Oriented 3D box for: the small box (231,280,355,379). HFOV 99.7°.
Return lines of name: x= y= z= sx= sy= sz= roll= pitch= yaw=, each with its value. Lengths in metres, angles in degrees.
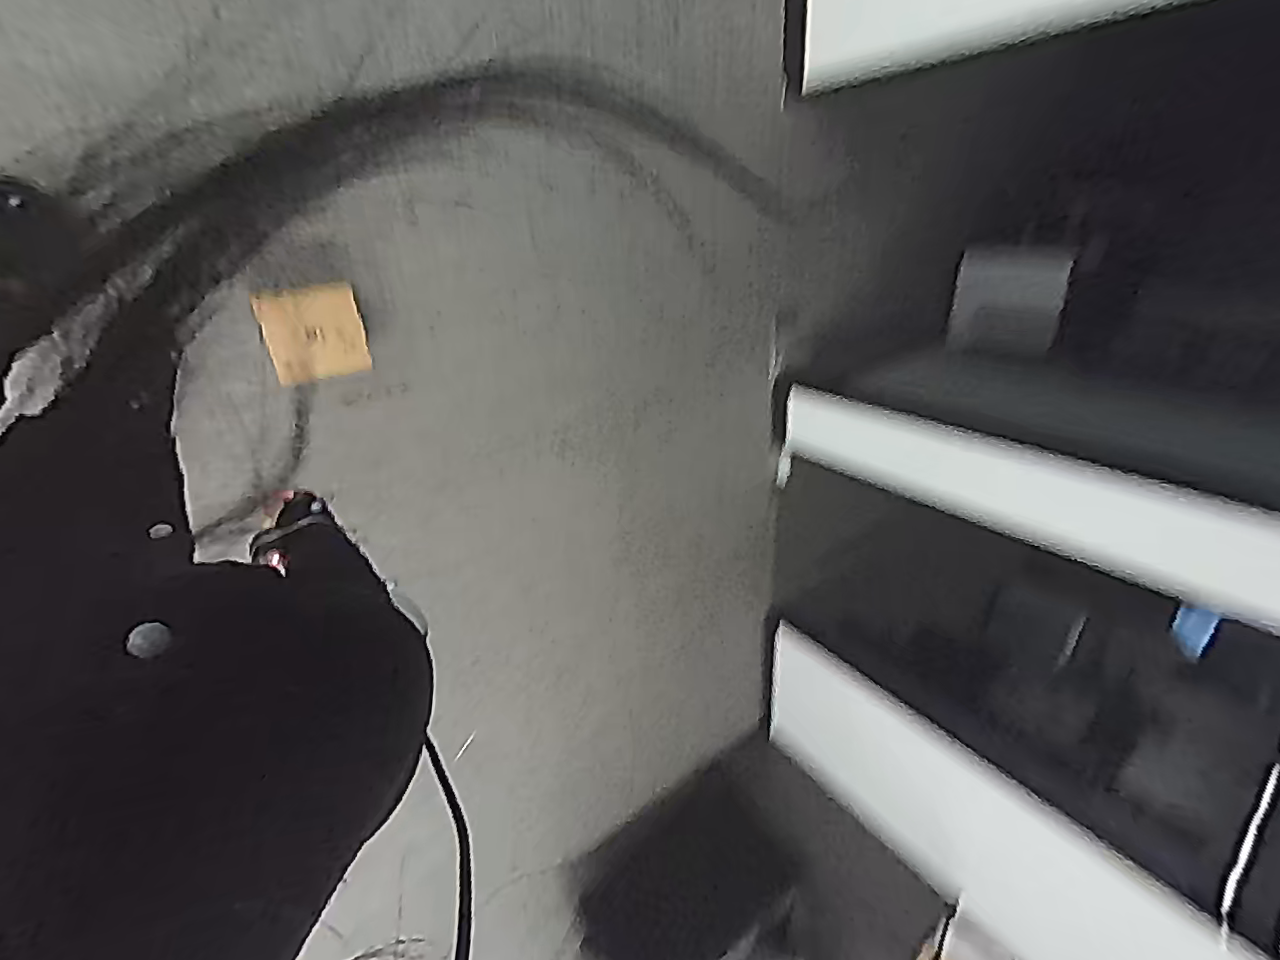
small box: x=-0.717 y=-0.318 z=1.120 sx=0.179 sy=0.176 sz=0.168 roll=-19 pitch=121 yaw=-31
